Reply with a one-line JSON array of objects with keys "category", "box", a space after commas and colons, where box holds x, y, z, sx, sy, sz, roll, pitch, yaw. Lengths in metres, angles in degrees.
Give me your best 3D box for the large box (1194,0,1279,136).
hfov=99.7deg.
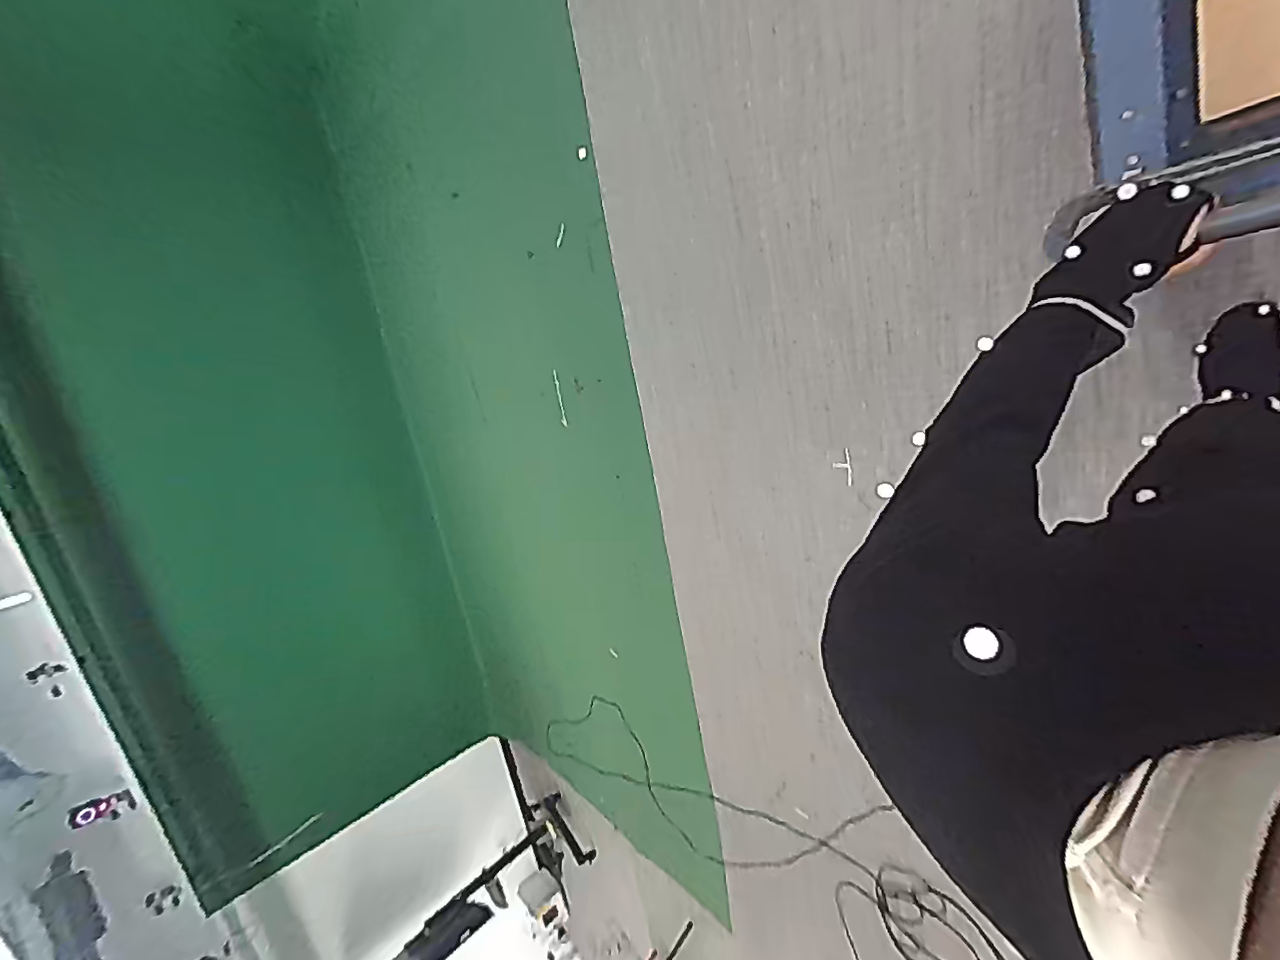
[{"category": "large box", "box": [0.918, -0.715, 0.665, 0.320, 0.320, 0.408, -1, 109, 50]}]
